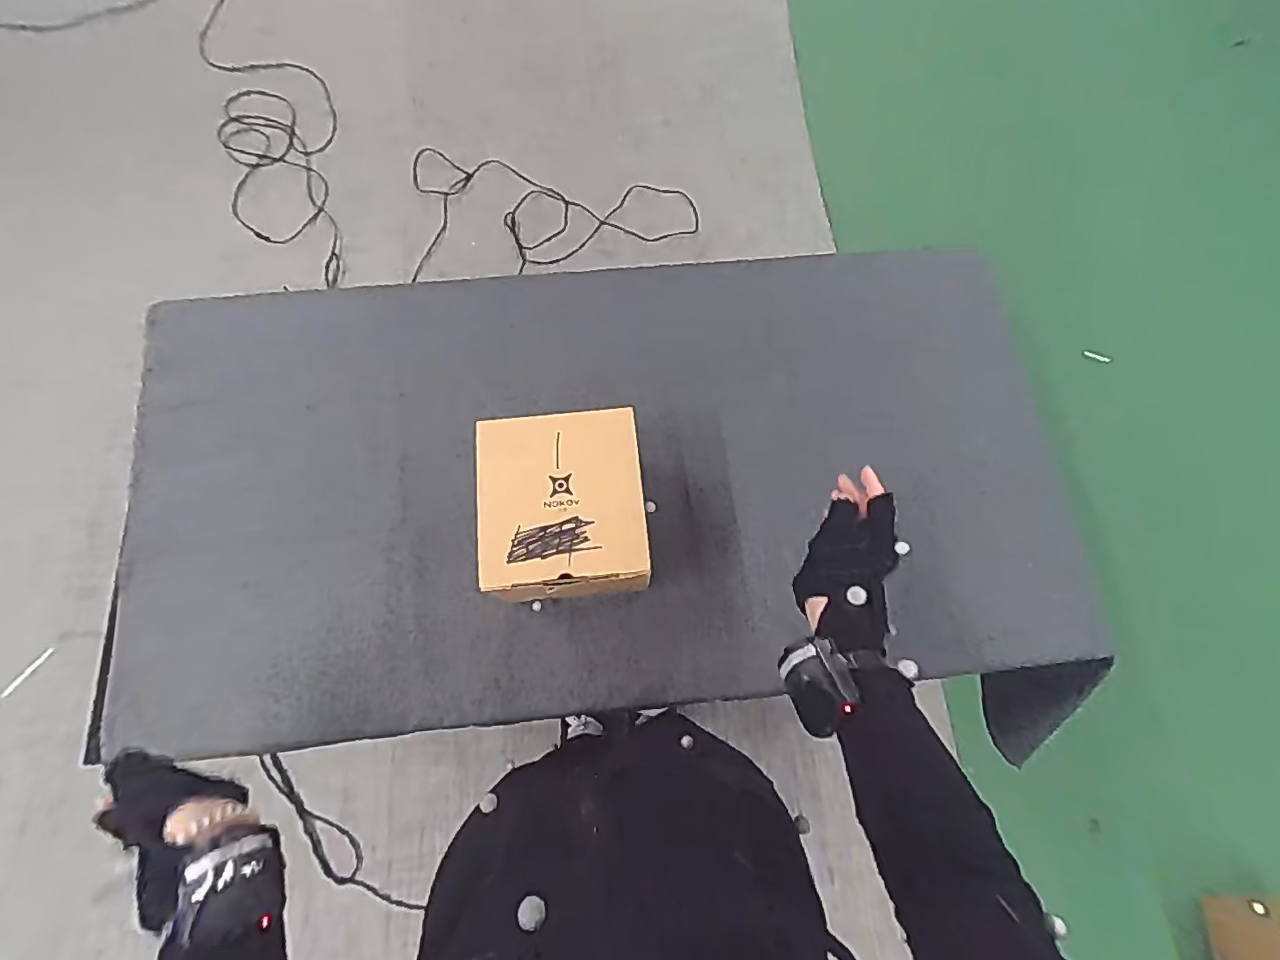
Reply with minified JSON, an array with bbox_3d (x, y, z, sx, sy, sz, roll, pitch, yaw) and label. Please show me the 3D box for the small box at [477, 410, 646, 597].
[{"bbox_3d":[-0.082,0.038,0.622,0.168,0.176,0.179,-6,73,-2],"label":"small box"}]
